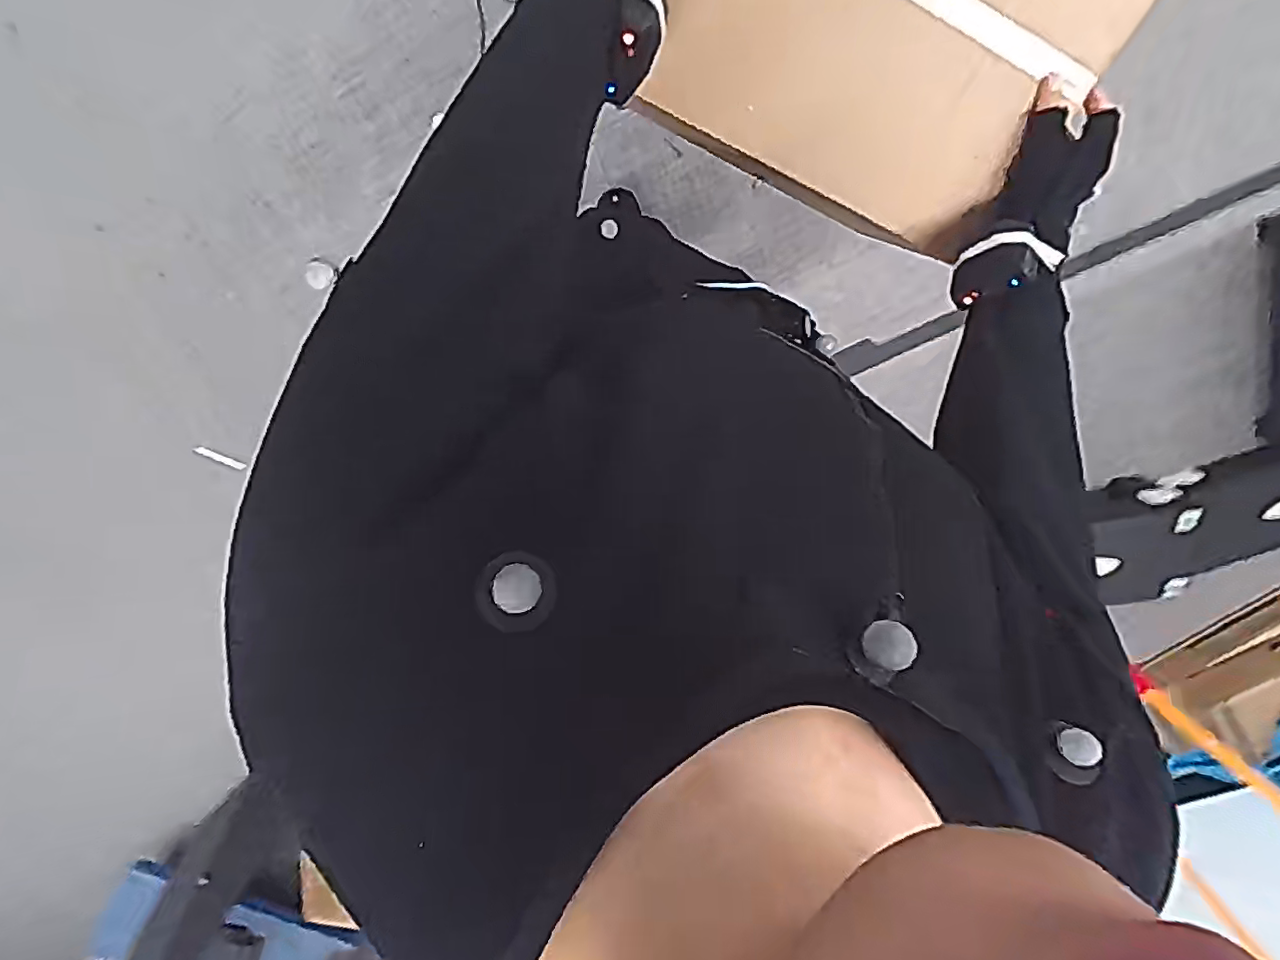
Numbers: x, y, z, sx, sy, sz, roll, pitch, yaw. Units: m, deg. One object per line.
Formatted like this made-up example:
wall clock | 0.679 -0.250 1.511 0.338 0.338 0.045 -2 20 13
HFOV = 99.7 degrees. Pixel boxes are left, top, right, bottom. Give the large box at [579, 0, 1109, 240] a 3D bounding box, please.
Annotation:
large box | 0.194 -0.501 0.567 0.408 0.320 0.320 21 118 -9
